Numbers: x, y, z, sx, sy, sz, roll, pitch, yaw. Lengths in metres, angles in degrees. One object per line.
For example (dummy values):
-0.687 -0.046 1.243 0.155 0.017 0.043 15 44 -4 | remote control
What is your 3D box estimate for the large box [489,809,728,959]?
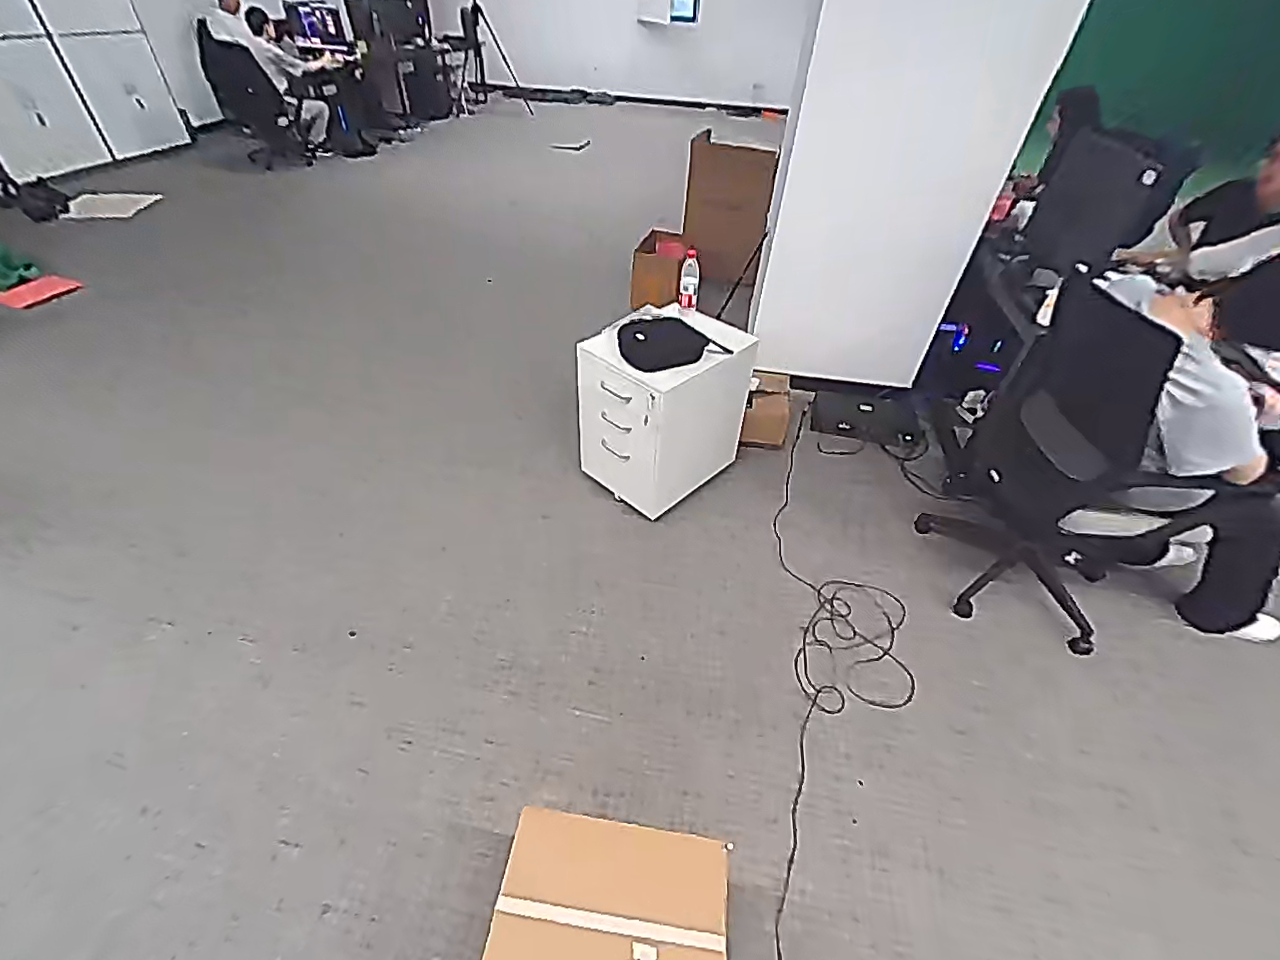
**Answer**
-0.056 0.884 1.043 0.408 0.320 0.320 8 42 4 | large box
